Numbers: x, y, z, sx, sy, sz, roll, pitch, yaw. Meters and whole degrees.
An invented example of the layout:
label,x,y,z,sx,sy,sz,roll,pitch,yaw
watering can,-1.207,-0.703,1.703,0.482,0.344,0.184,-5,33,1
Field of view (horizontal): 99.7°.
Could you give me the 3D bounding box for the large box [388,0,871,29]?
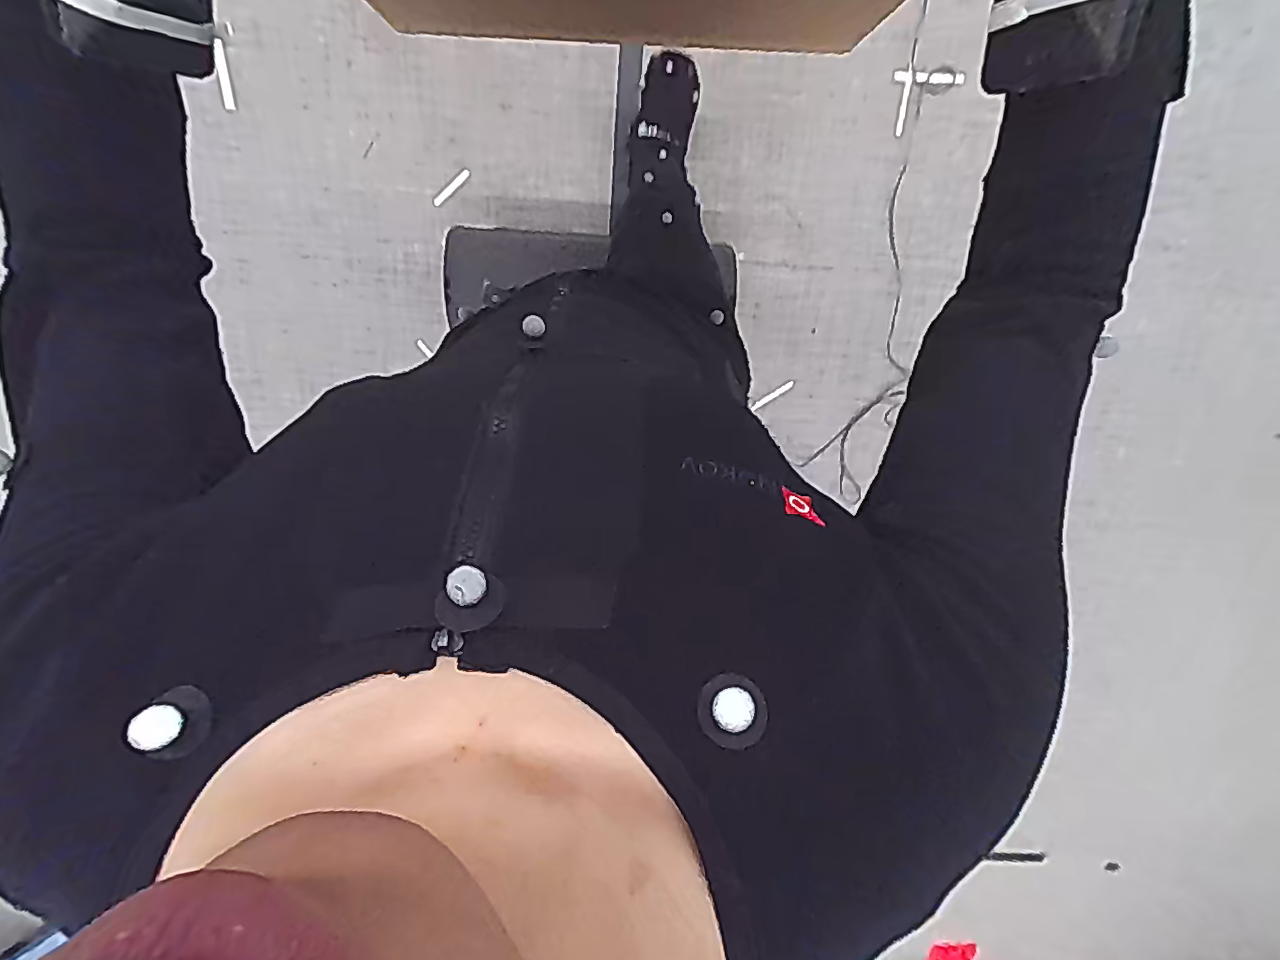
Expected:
label,x,y,z,sx,sy,sz,roll,pitch,yaw
large box,-0.006,-0.486,0.285,0.408,0.320,0.320,0,113,-2
